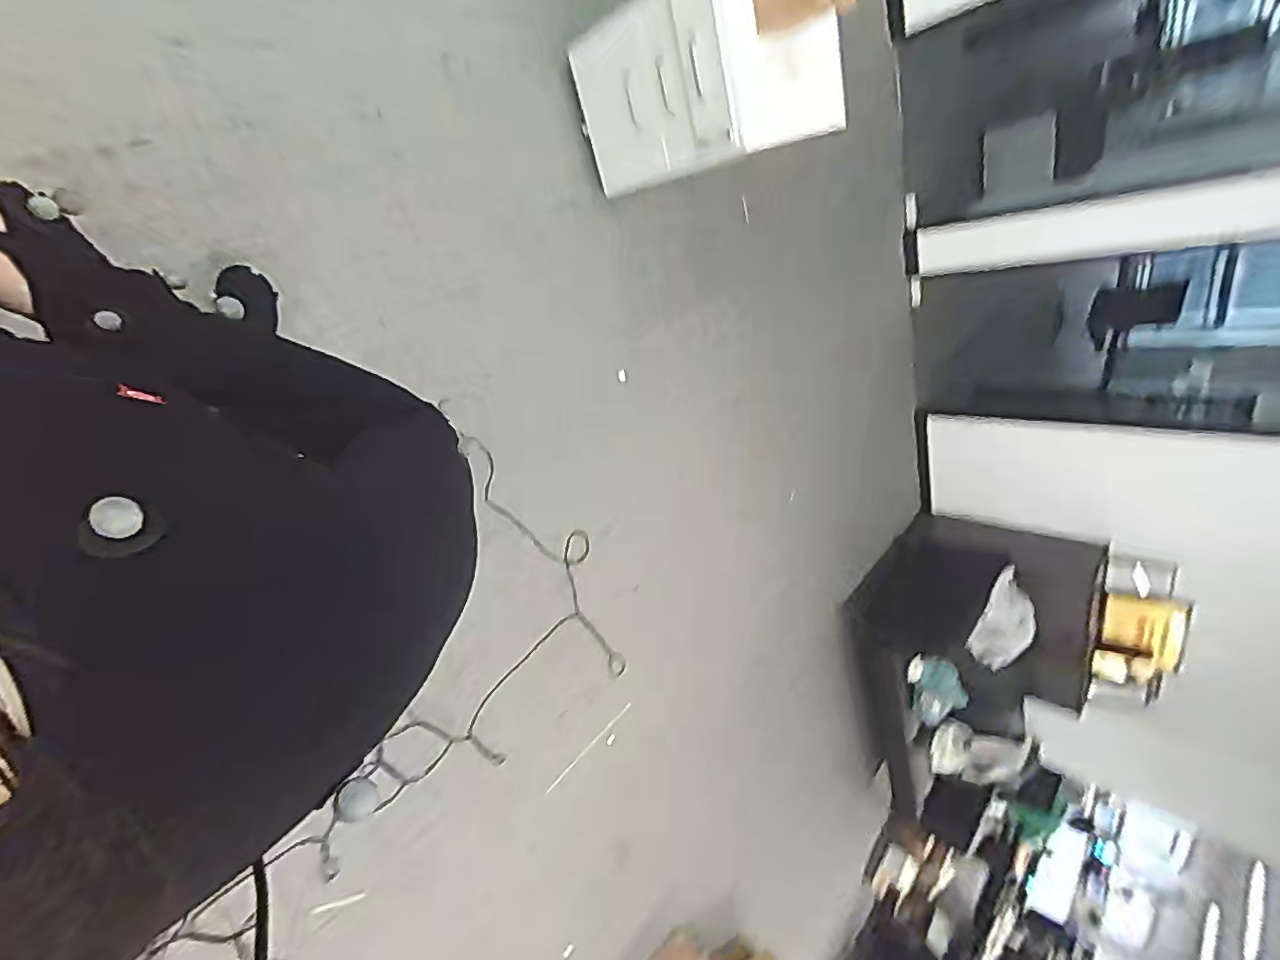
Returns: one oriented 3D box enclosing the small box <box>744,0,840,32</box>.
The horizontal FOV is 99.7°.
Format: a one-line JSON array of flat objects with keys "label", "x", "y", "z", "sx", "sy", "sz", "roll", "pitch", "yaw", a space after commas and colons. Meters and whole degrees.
[{"label": "small box", "x": 0.347, "y": -1.184, "z": 1.254, "sx": 0.168, "sy": 0.176, "sz": 0.179, "roll": -36, "pitch": 123, "yaw": -32}]
